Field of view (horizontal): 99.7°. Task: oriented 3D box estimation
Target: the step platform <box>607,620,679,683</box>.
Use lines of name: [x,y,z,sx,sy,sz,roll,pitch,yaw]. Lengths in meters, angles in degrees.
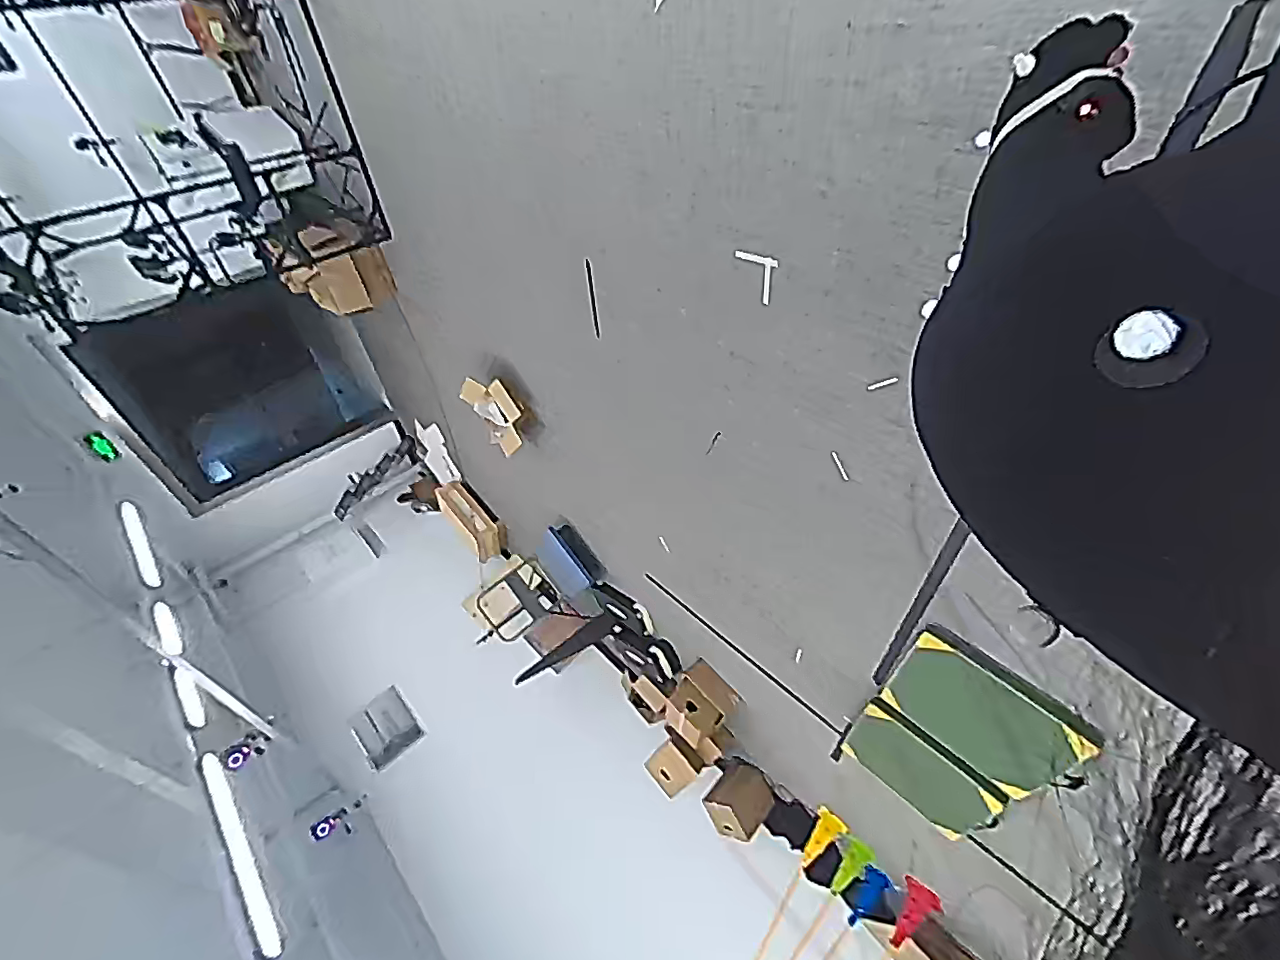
step platform: [0.008,1.406,4.451,0.684,0.204,0.286,6,125,54]
